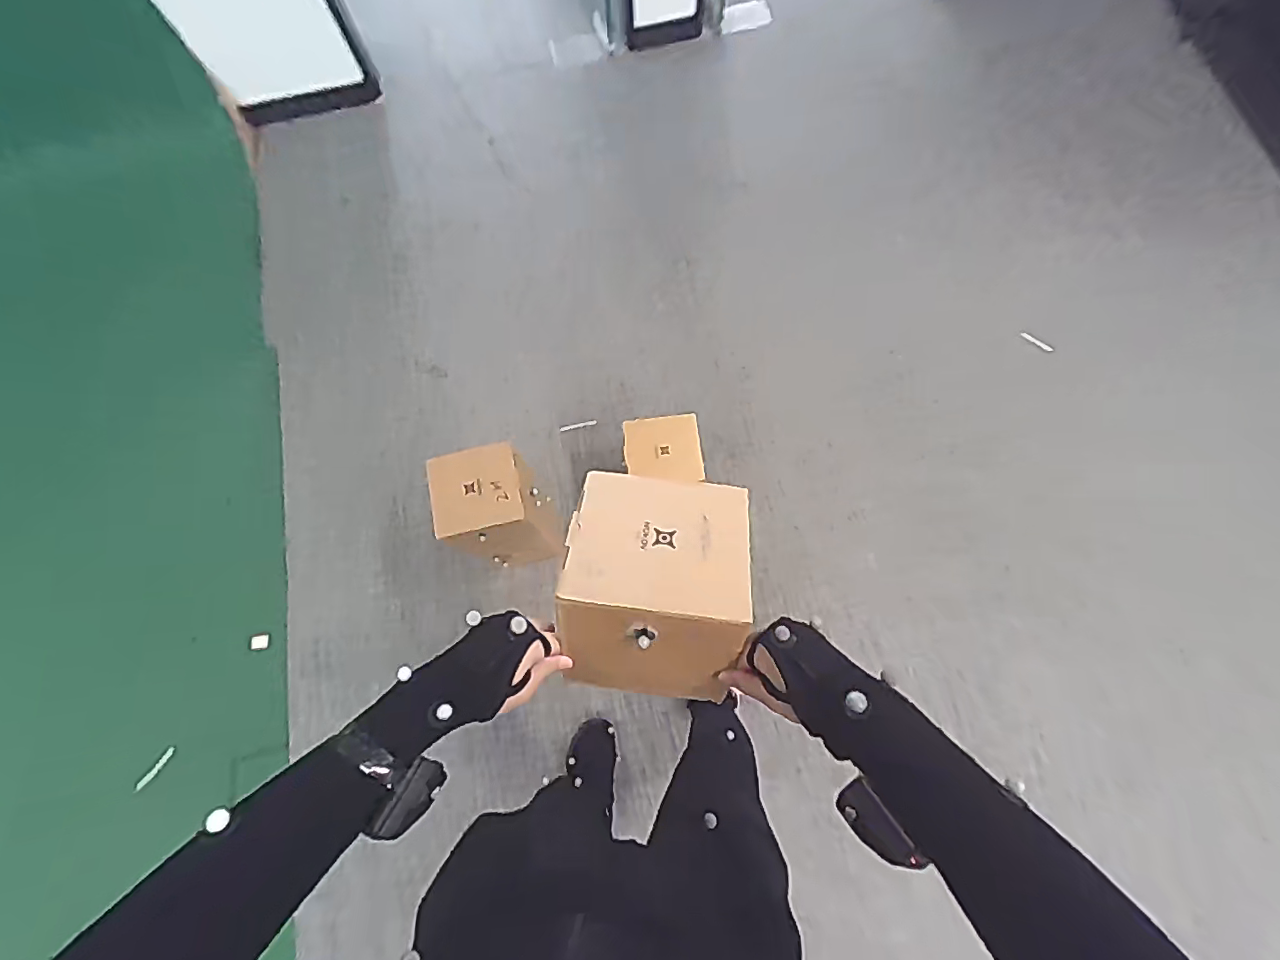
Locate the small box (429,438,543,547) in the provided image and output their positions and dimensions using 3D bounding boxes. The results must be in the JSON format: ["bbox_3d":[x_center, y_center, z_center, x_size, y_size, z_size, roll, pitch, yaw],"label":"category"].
[{"bbox_3d":[-0.314,0.033,1.126,0.179,0.176,0.168,-13,74,-3],"label":"small box"}]

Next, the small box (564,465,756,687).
[{"bbox_3d":[0.024,0.106,0.590,0.179,0.176,0.168,7,45,3],"label":"small box"}]

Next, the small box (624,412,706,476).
[{"bbox_3d":[0.057,-0.051,1.314,0.179,0.176,0.168,-7,73,0],"label":"small box"}]

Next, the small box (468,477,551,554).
[{"bbox_3d":[-0.319,0.071,1.288,0.168,0.176,0.179,-14,73,-3],"label":"small box"}]
